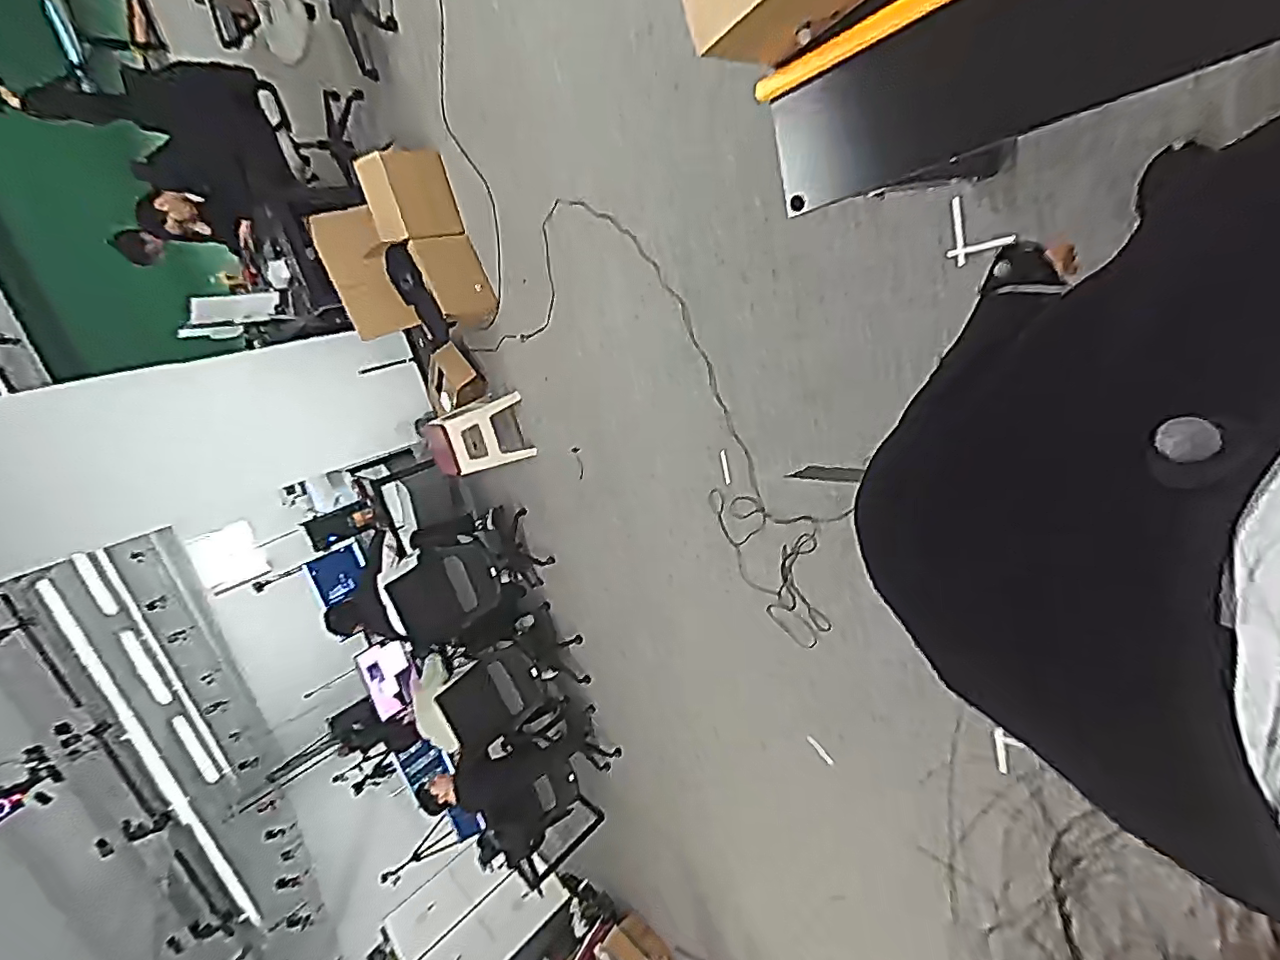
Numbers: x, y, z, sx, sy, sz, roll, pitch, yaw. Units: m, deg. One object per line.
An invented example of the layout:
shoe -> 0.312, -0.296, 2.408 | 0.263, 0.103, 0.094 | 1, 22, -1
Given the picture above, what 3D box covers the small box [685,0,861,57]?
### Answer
small box -> 0.153, -0.623, 0.609 | 0.168, 0.176, 0.179 | -3, 110, 51
